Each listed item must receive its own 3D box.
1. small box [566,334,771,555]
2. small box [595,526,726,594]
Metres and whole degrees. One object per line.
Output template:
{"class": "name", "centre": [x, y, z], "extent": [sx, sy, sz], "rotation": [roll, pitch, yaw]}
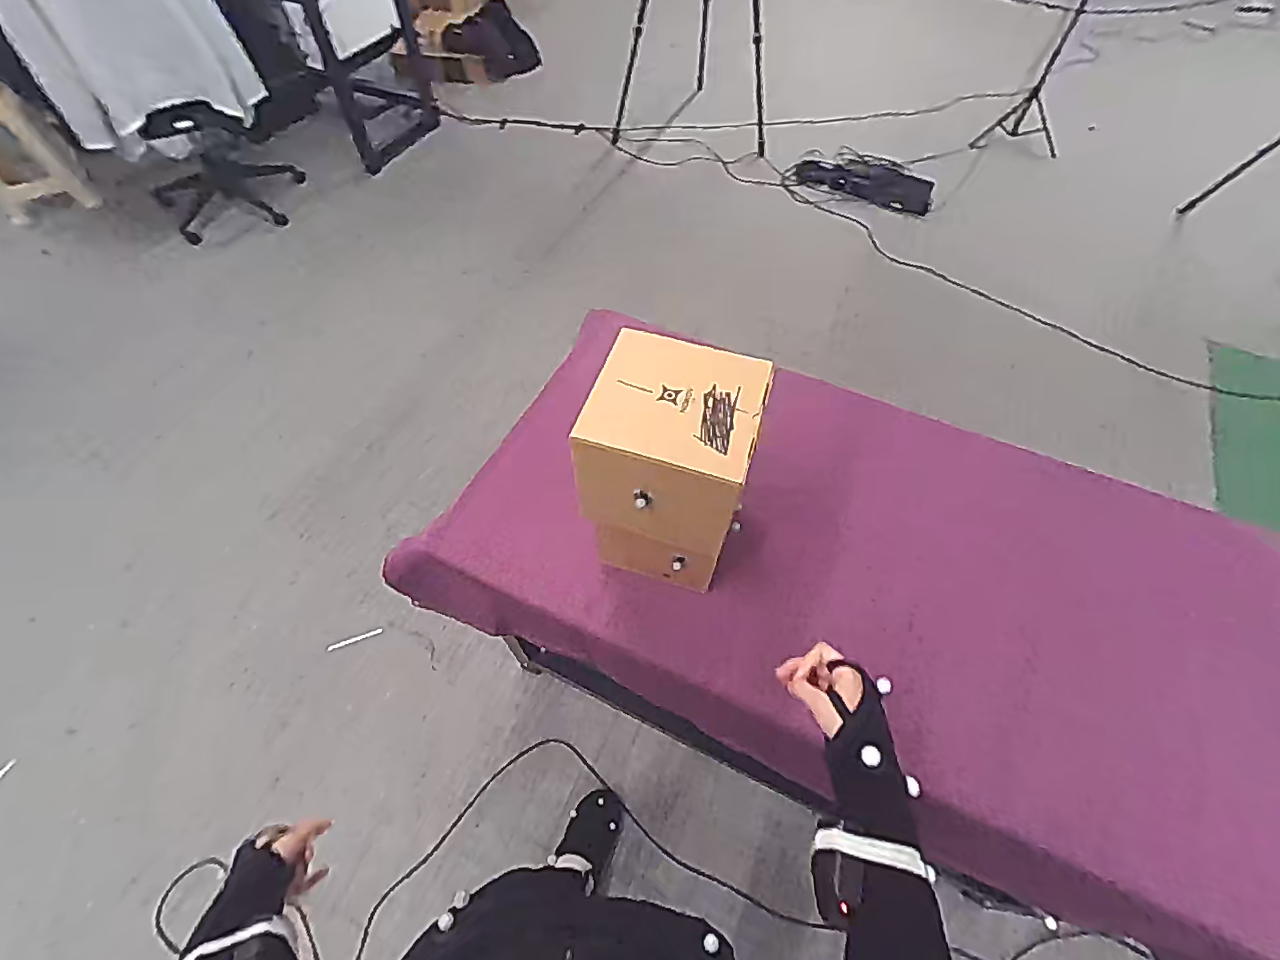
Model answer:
{"class": "small box", "centre": [0.033, -0.033, 0.620], "extent": [0.179, 0.176, 0.168], "rotation": [16, 58, 9]}
{"class": "small box", "centre": [0.042, 0.039, 0.769], "extent": [0.168, 0.176, 0.179], "rotation": [17, 57, 9]}
